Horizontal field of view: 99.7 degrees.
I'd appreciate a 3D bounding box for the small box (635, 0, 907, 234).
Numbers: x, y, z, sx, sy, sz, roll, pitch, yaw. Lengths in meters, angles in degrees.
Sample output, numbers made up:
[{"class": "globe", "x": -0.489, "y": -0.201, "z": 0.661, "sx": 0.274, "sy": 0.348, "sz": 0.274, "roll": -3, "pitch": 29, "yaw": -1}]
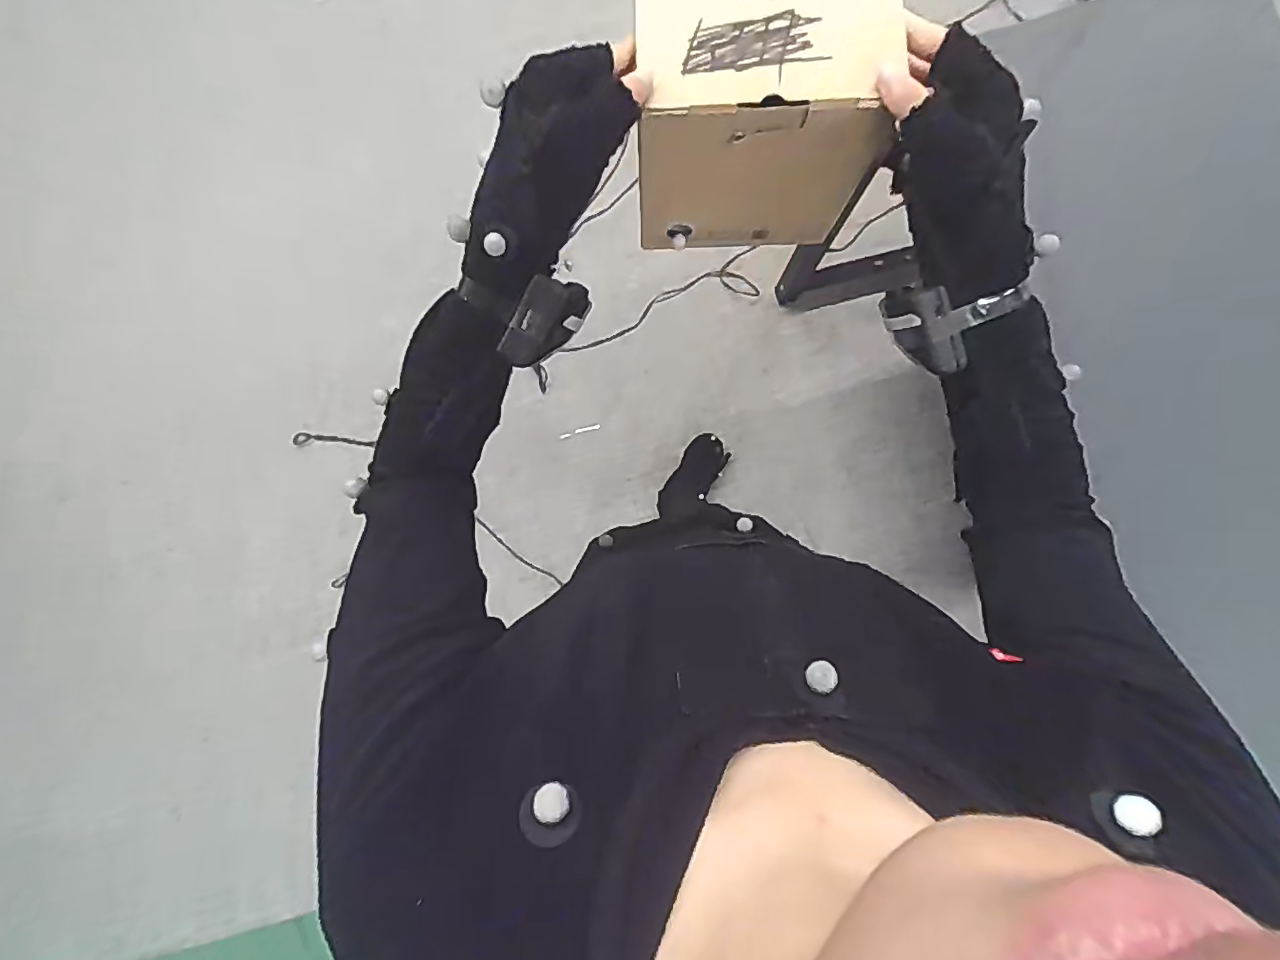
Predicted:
[{"class": "small box", "x": 0.081, "y": -0.308, "z": 0.415, "sx": 0.168, "sy": 0.176, "sz": 0.179, "roll": -2, "pitch": 85, "yaw": 1}]
